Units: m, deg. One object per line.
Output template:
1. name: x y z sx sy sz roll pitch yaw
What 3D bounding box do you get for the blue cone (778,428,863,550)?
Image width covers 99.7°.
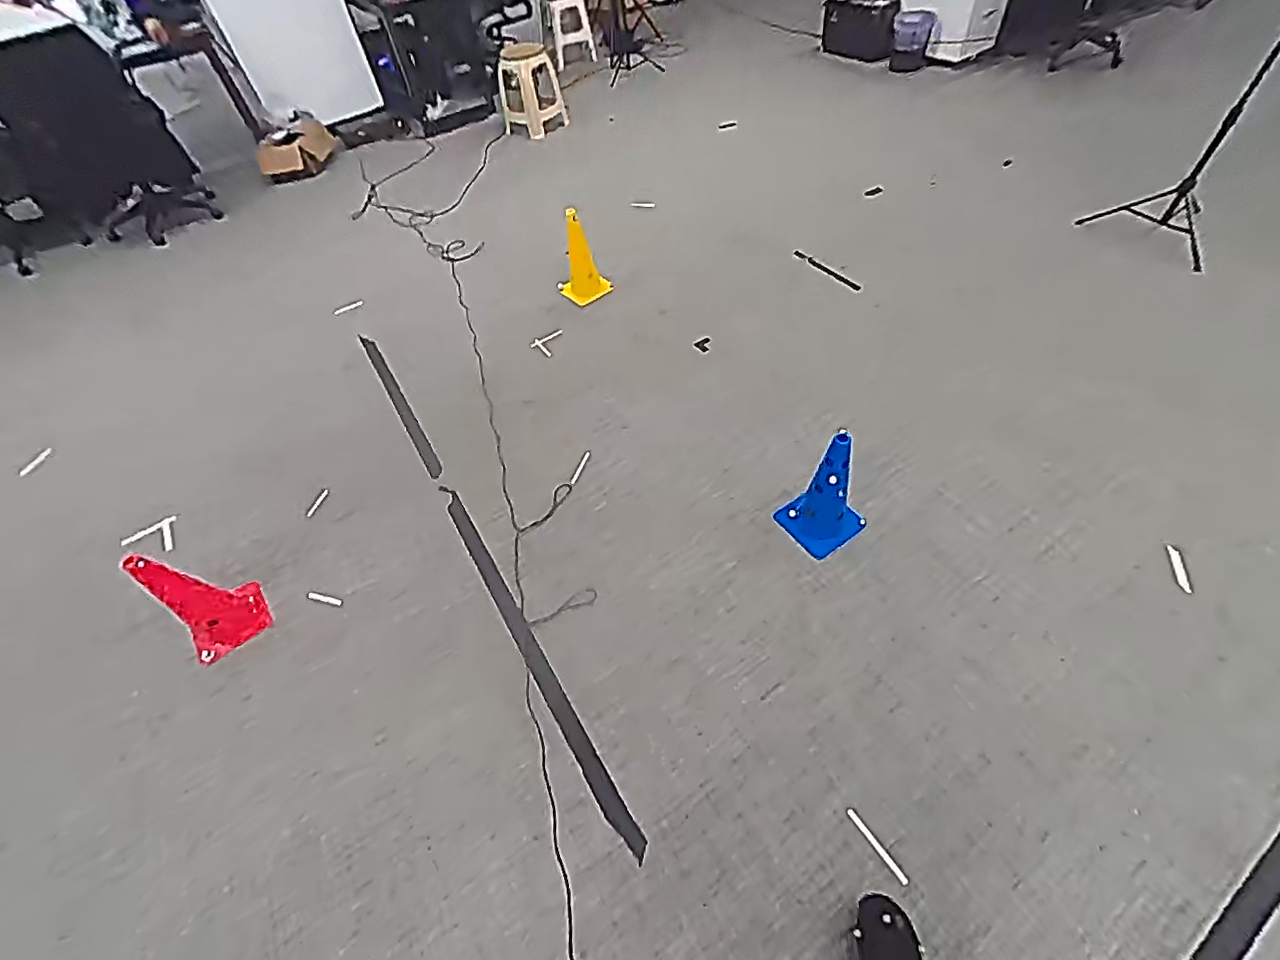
1. blue cone: 0.510 0.006 1.461 0.192 0.380 0.193 -29 53 -17

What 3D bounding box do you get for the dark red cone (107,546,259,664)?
1. dark red cone: -1.226 0.299 1.427 0.201 0.394 0.202 -36 55 -22
